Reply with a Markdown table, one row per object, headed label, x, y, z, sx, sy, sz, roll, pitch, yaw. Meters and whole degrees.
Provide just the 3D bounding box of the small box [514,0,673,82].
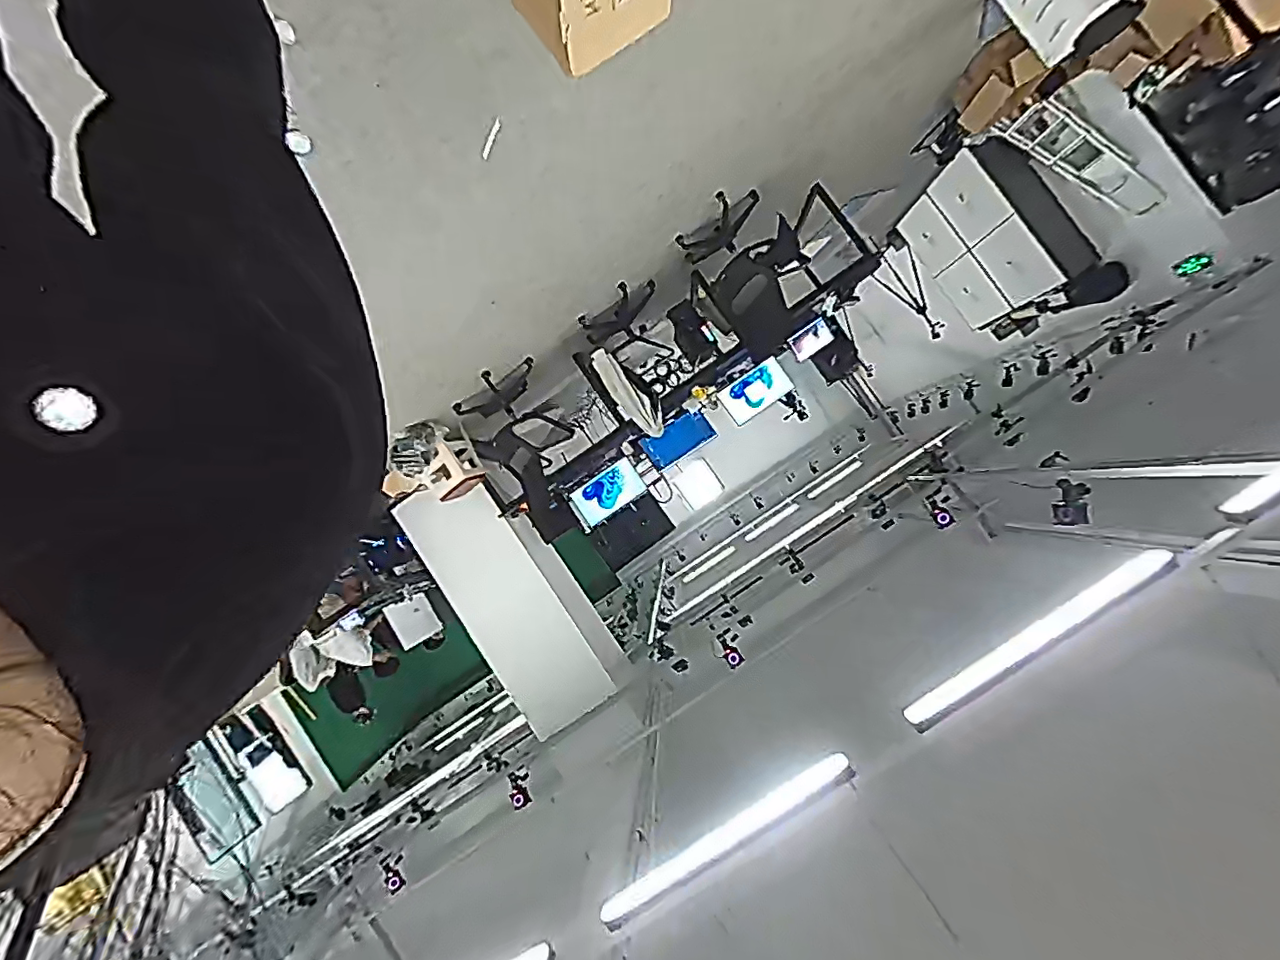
| label | x | y | z | sx | sy | sz | roll | pitch | yaw |
| --- | --- | --- | --- | --- | --- | --- | --- | --- | --- |
| small box | -0.070 | -0.680 | 0.689 | 0.179 | 0.176 | 0.168 | -35 | 177 | -3 |
